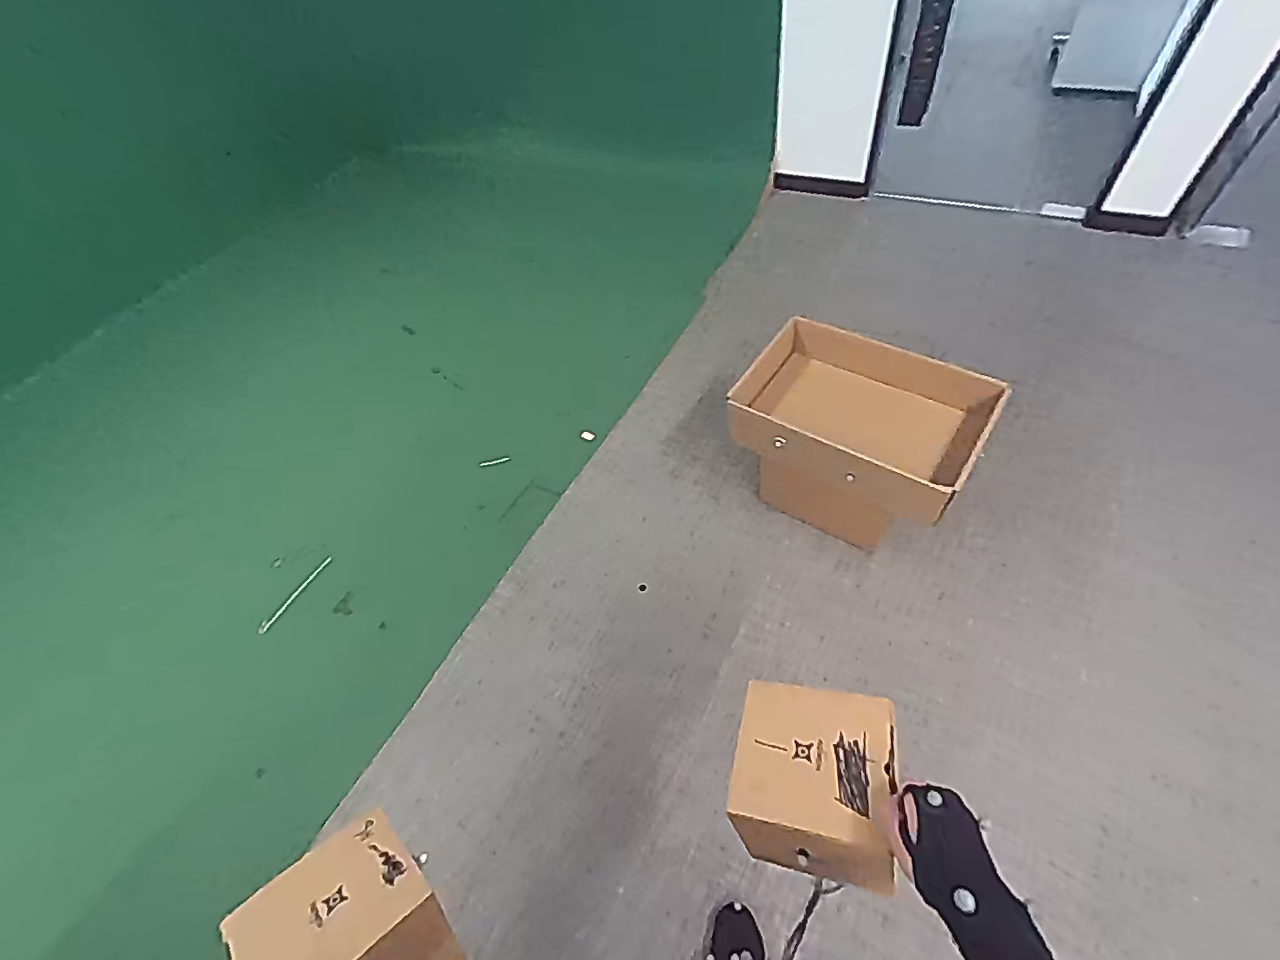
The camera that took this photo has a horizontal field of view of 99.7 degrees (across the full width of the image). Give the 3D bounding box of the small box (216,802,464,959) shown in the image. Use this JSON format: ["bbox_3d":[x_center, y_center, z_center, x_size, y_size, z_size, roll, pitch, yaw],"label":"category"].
[{"bbox_3d":[-0.322,0.521,0.599,0.179,0.176,0.168,-28,29,-37],"label":"small box"}]

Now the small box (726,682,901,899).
[{"bbox_3d":[0.222,0.378,0.663,0.179,0.176,0.168,-1,41,26],"label":"small box"}]
